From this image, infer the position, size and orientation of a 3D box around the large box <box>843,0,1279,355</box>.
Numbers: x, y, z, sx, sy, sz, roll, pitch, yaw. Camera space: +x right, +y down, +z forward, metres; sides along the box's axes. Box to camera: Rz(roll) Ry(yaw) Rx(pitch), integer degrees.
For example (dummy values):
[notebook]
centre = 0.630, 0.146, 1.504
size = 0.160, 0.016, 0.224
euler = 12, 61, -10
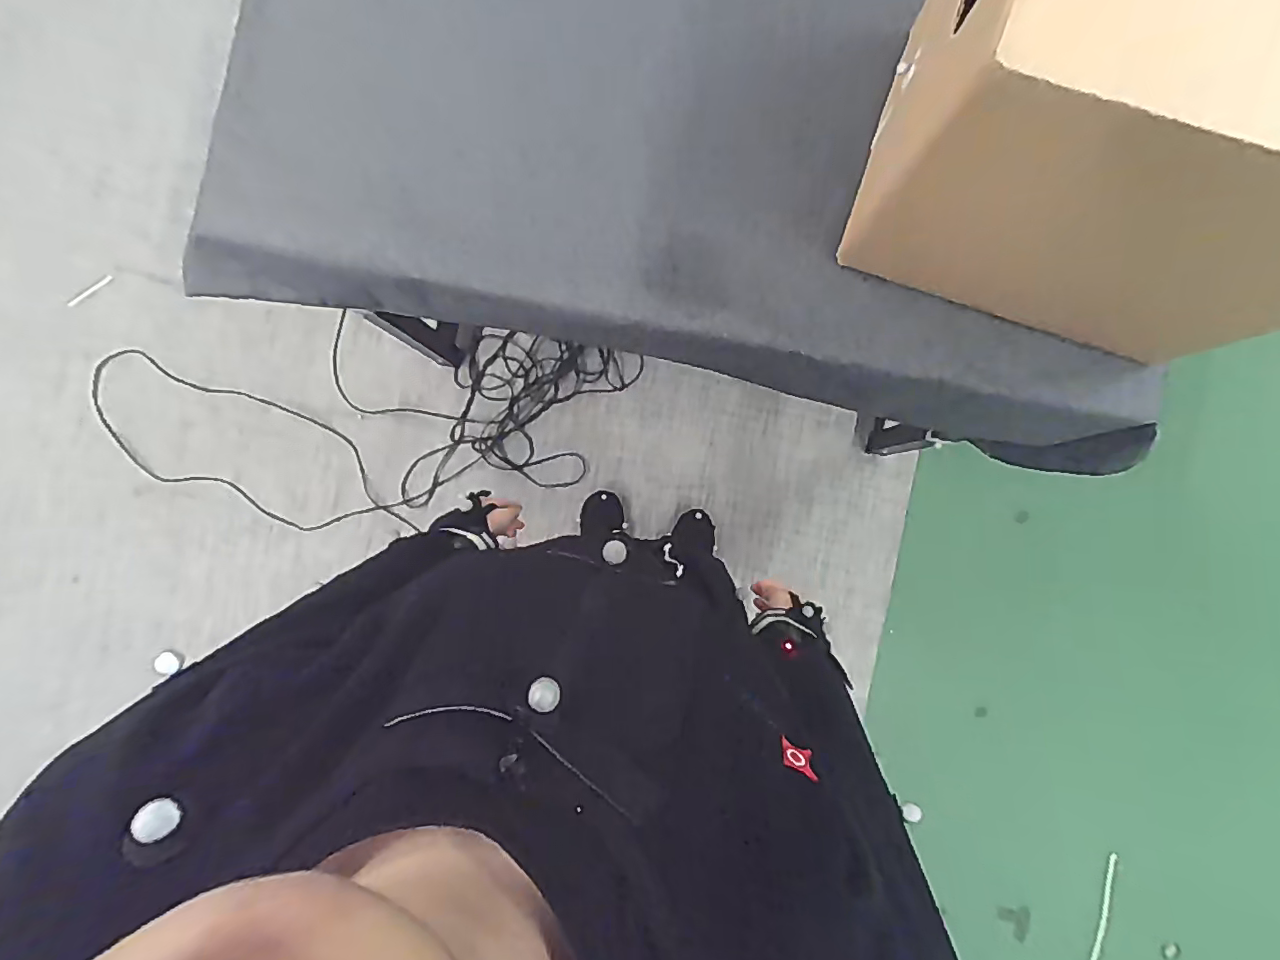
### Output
[large box]
centre = 0.473, -0.356, 0.512
size = 0.408, 0.320, 0.320
euler = 18, 89, 1
